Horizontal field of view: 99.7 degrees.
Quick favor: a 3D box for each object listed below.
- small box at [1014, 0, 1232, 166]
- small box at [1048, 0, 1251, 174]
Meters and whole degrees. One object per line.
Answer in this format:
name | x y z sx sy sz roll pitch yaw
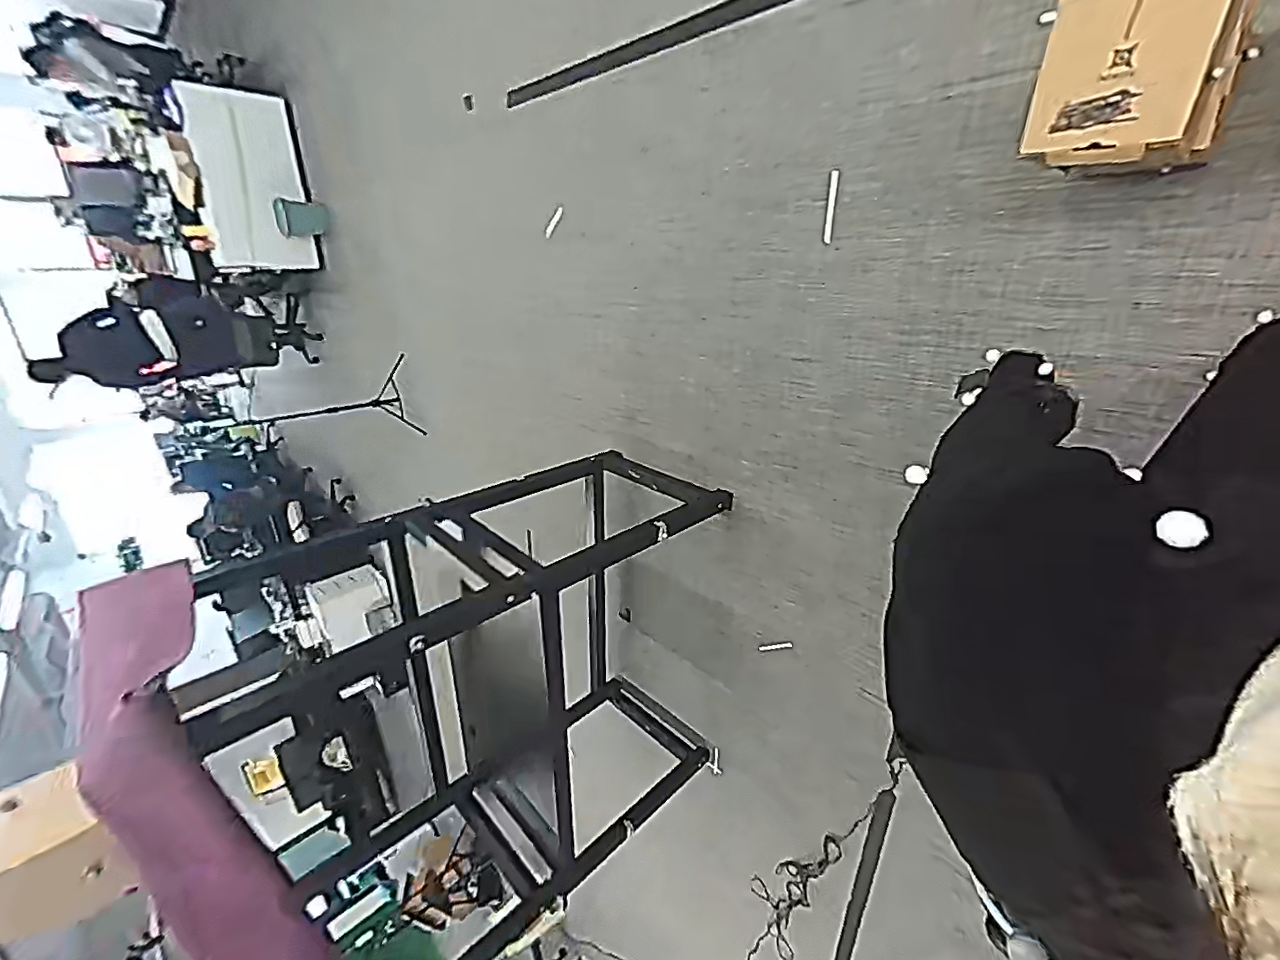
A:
small box | 0.623 -0.517 0.701 0.168 0.176 0.179 23 120 40
small box | 0.746 -0.560 0.800 0.179 0.176 0.168 20 120 42
